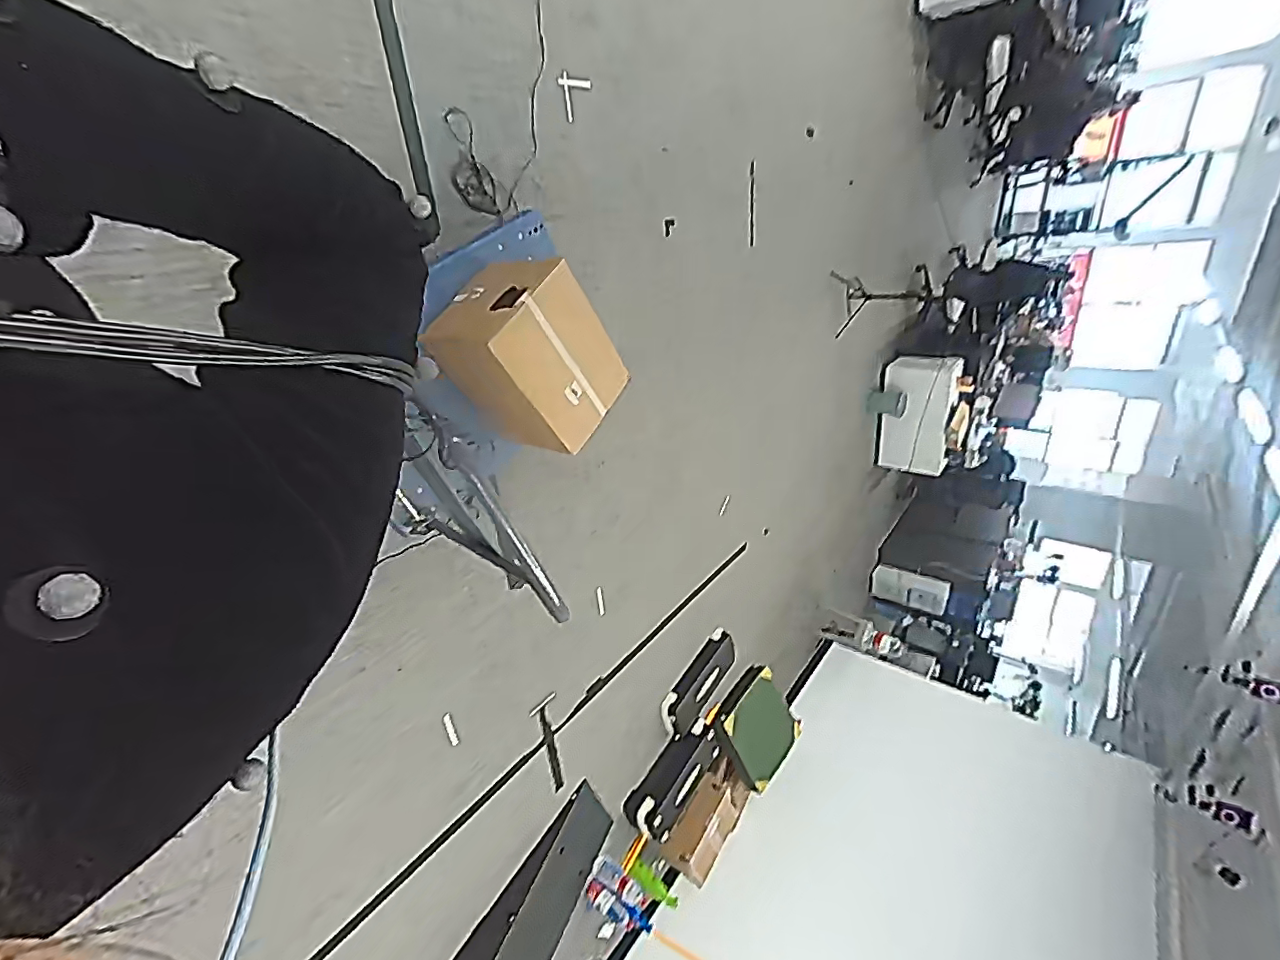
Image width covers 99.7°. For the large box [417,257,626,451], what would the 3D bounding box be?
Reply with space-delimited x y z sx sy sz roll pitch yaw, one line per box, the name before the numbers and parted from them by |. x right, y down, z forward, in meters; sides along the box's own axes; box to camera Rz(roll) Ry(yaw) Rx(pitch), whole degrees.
large box | -0.308 -0.339 1.476 0.320 0.320 0.408 -57 139 -22
